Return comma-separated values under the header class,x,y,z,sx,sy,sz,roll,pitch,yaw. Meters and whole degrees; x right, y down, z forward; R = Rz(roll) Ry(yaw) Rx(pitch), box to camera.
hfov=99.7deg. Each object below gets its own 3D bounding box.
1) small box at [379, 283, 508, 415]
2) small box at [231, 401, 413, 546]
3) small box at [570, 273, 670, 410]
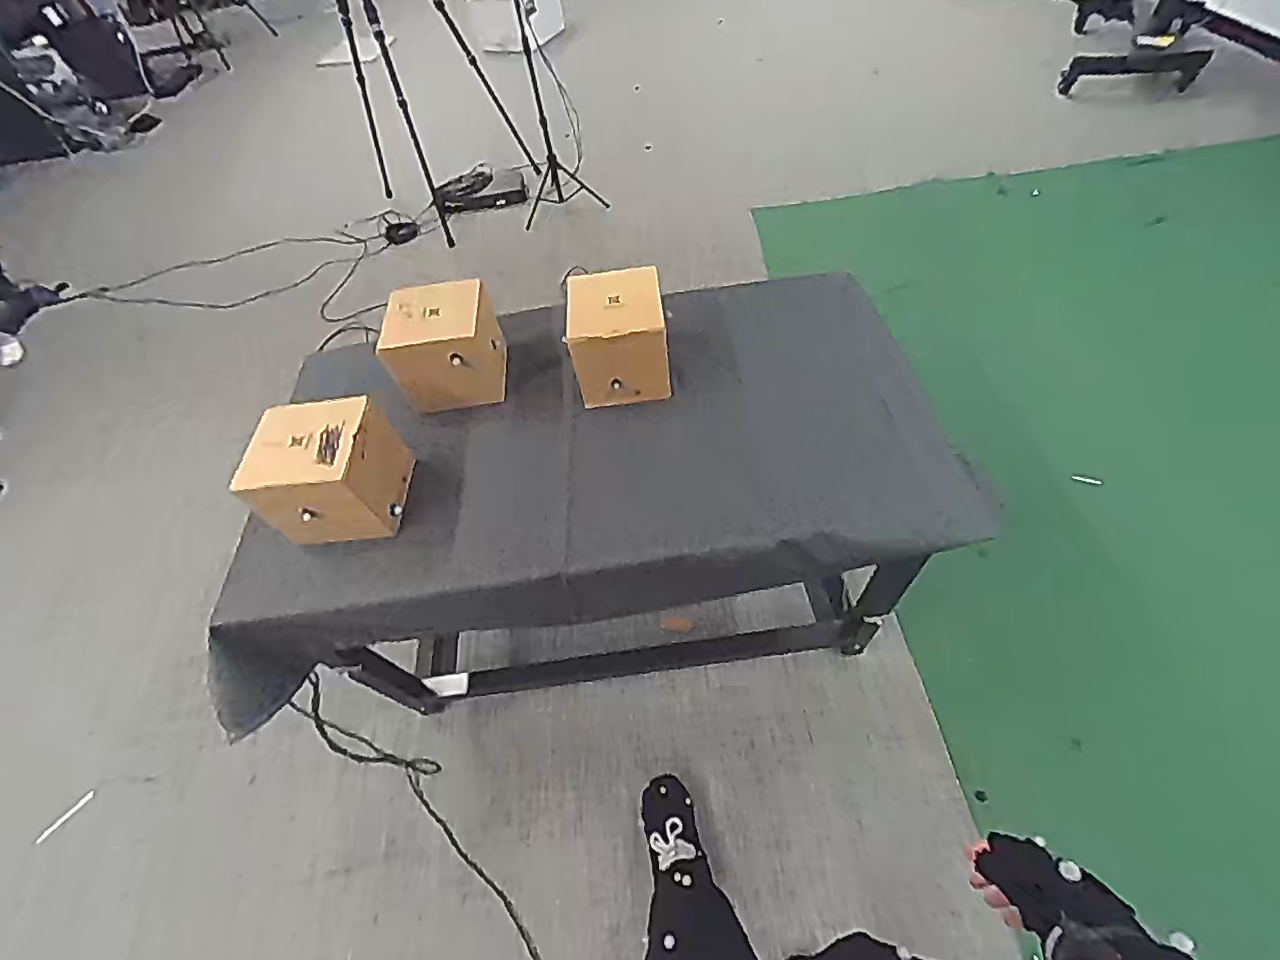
class,x,y,z,sx,sy,sz,roll,pitch,yaw
small box,-0.361,-0.245,1.033,0.179,0.176,0.168,-8,55,2
small box,-0.499,-0.006,0.884,0.179,0.176,0.168,-6,54,4
small box,-0.034,-0.254,1.005,0.168,0.176,0.179,-6,55,2
